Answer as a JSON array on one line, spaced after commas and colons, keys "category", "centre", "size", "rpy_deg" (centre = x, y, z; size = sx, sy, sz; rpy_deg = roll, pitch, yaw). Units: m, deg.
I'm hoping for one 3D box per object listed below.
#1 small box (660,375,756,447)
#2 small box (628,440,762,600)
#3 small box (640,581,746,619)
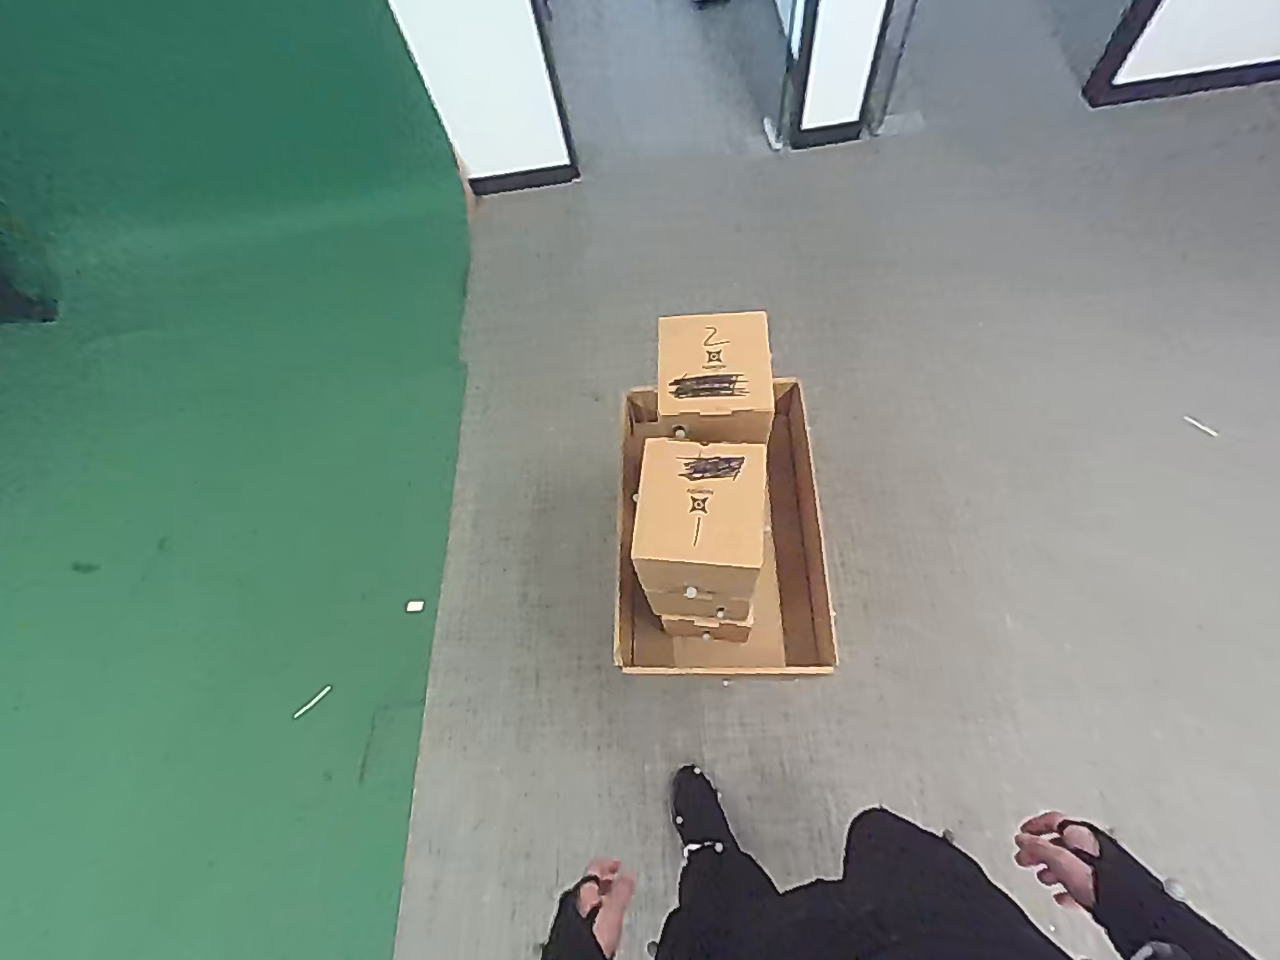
[{"category": "small box", "centre": [0.124, -0.078, 1.025], "size": [0.168, 0.176, 0.179], "rpy_deg": [-3, 67, 5]}, {"category": "small box", "centre": [0.081, 0.061, 0.781], "size": [0.168, 0.176, 0.179], "rpy_deg": [4, 66, 8]}, {"category": "small box", "centre": [0.099, 0.133, 0.927], "size": [0.168, 0.176, 0.179], "rpy_deg": [4, 64, 8]}]
